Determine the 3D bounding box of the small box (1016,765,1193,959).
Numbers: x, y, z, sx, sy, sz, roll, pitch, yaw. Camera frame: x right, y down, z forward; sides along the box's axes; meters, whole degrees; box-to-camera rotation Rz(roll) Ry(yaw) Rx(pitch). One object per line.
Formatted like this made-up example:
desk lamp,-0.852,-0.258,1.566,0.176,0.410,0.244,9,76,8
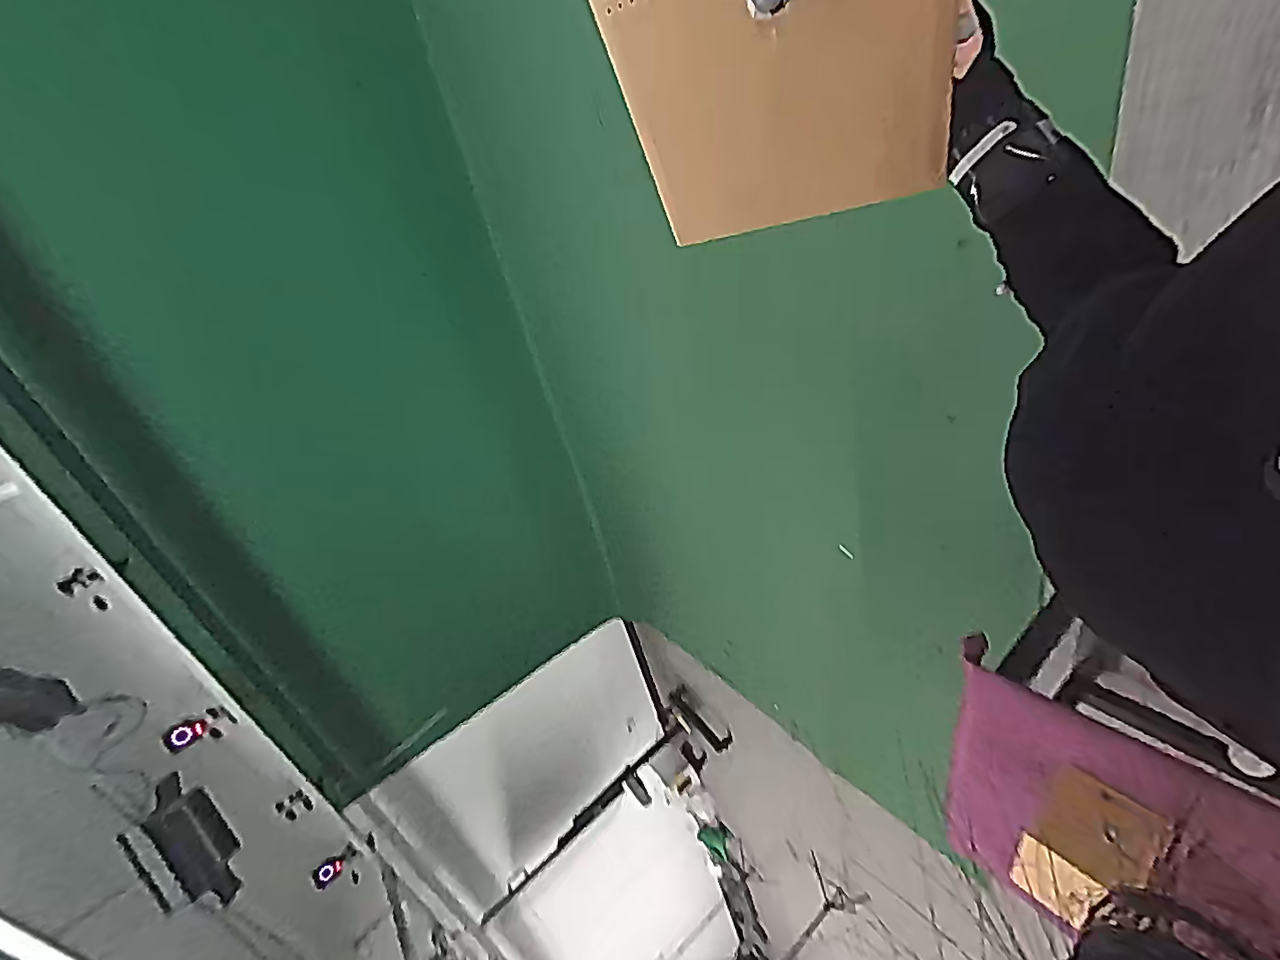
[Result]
small box,0.763,0.619,0.893,0.168,0.176,0.179,27,141,47
